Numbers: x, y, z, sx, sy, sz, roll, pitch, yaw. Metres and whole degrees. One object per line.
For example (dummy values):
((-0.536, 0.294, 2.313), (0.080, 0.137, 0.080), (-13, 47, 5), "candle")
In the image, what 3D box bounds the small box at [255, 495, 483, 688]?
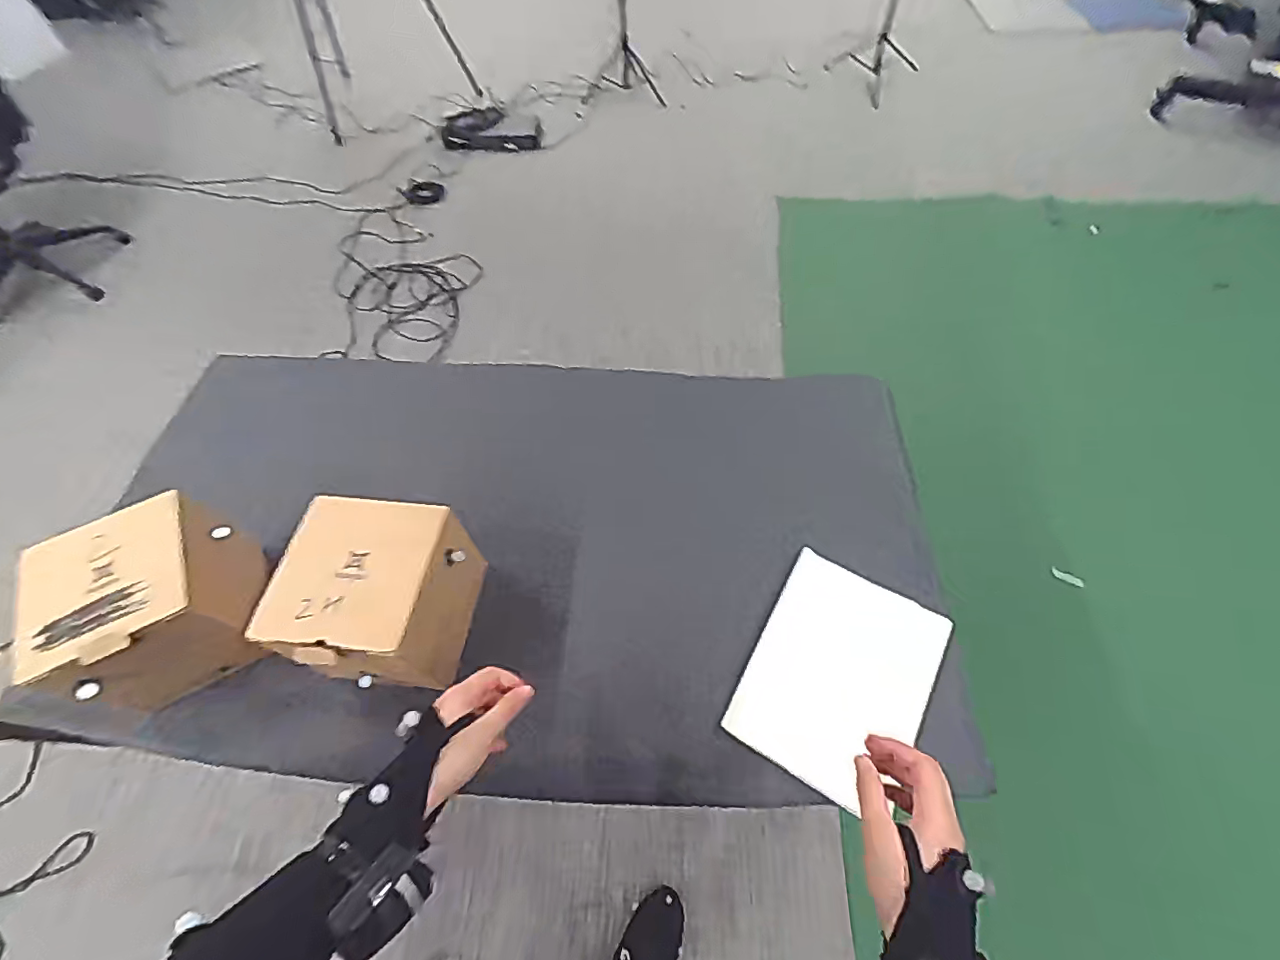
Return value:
((-0.308, 0.139, 0.664), (0.168, 0.176, 0.179), (4, 58, 6), "small box")
